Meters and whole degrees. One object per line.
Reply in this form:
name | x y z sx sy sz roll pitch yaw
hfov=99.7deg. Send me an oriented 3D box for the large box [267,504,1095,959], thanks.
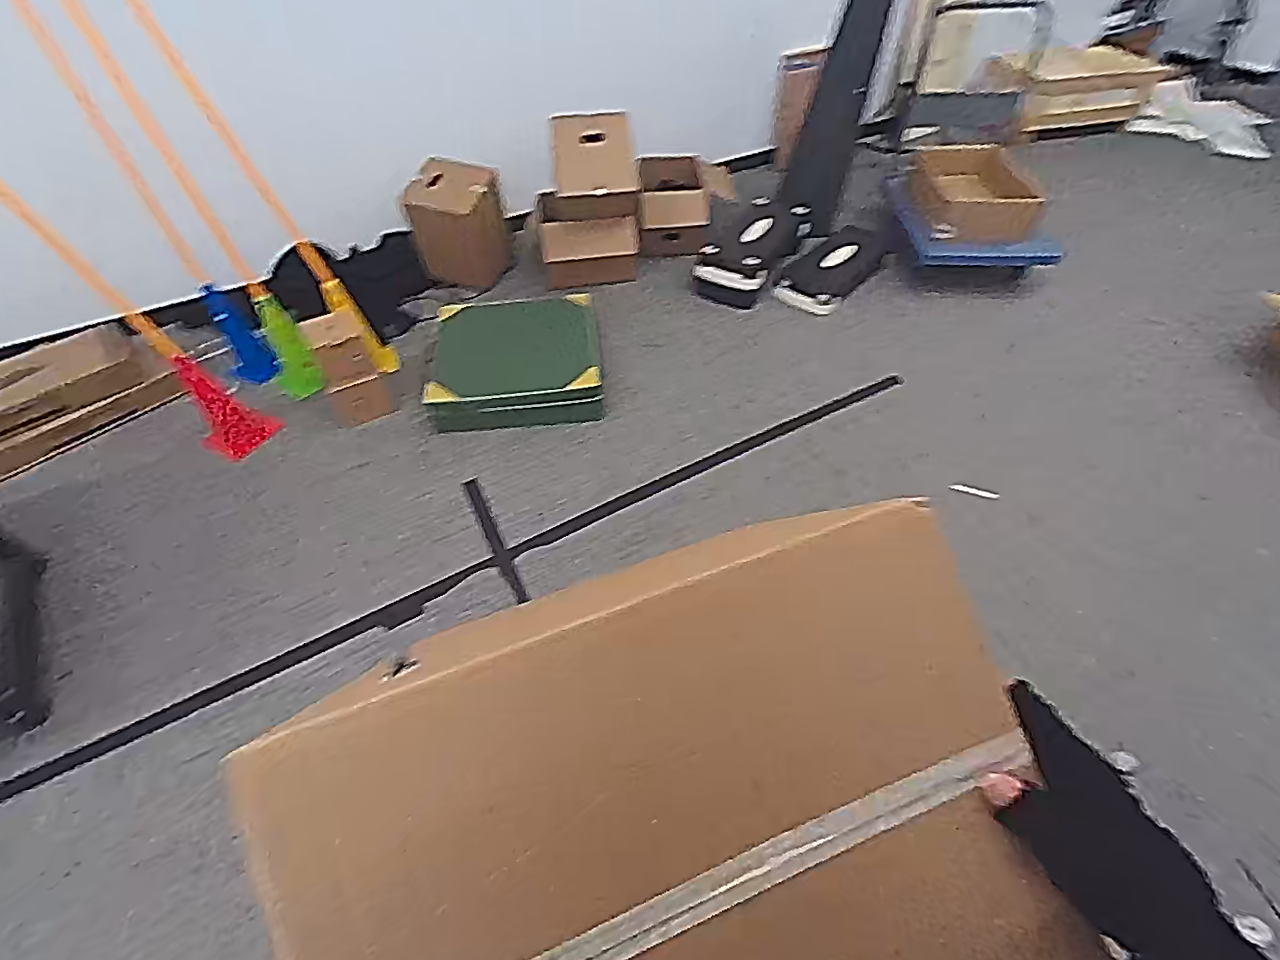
large box | 0.019 0.243 0.446 0.408 0.320 0.320 -19 86 -9
